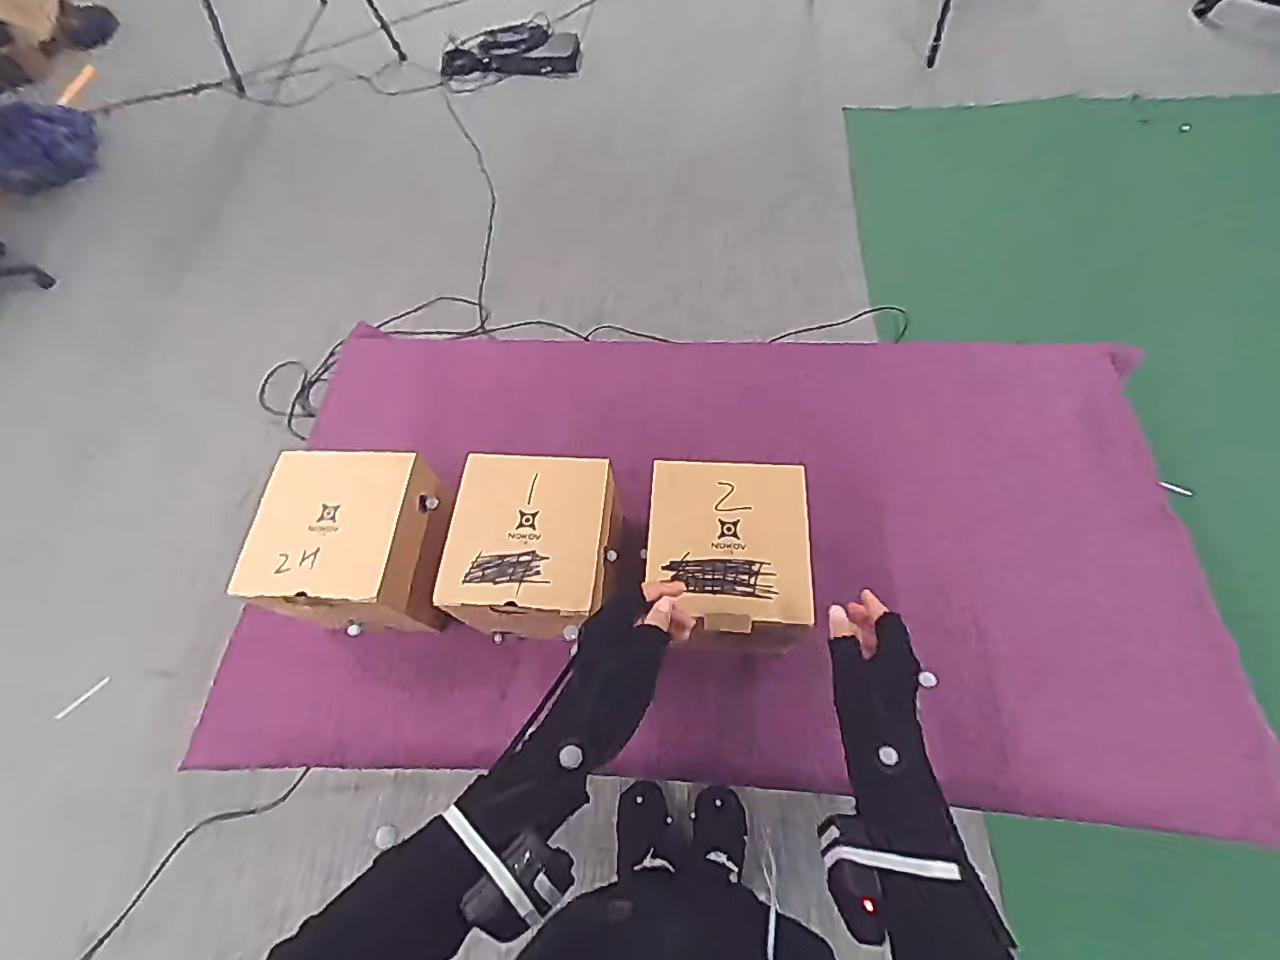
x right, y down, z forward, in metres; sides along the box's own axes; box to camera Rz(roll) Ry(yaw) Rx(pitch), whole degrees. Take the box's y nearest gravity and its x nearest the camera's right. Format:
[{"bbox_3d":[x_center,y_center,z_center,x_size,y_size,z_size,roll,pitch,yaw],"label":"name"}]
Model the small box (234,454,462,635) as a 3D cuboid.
[{"bbox_3d":[-0.338,0.084,0.671,0.168,0.176,0.179,1,64,5],"label":"small box"}]
